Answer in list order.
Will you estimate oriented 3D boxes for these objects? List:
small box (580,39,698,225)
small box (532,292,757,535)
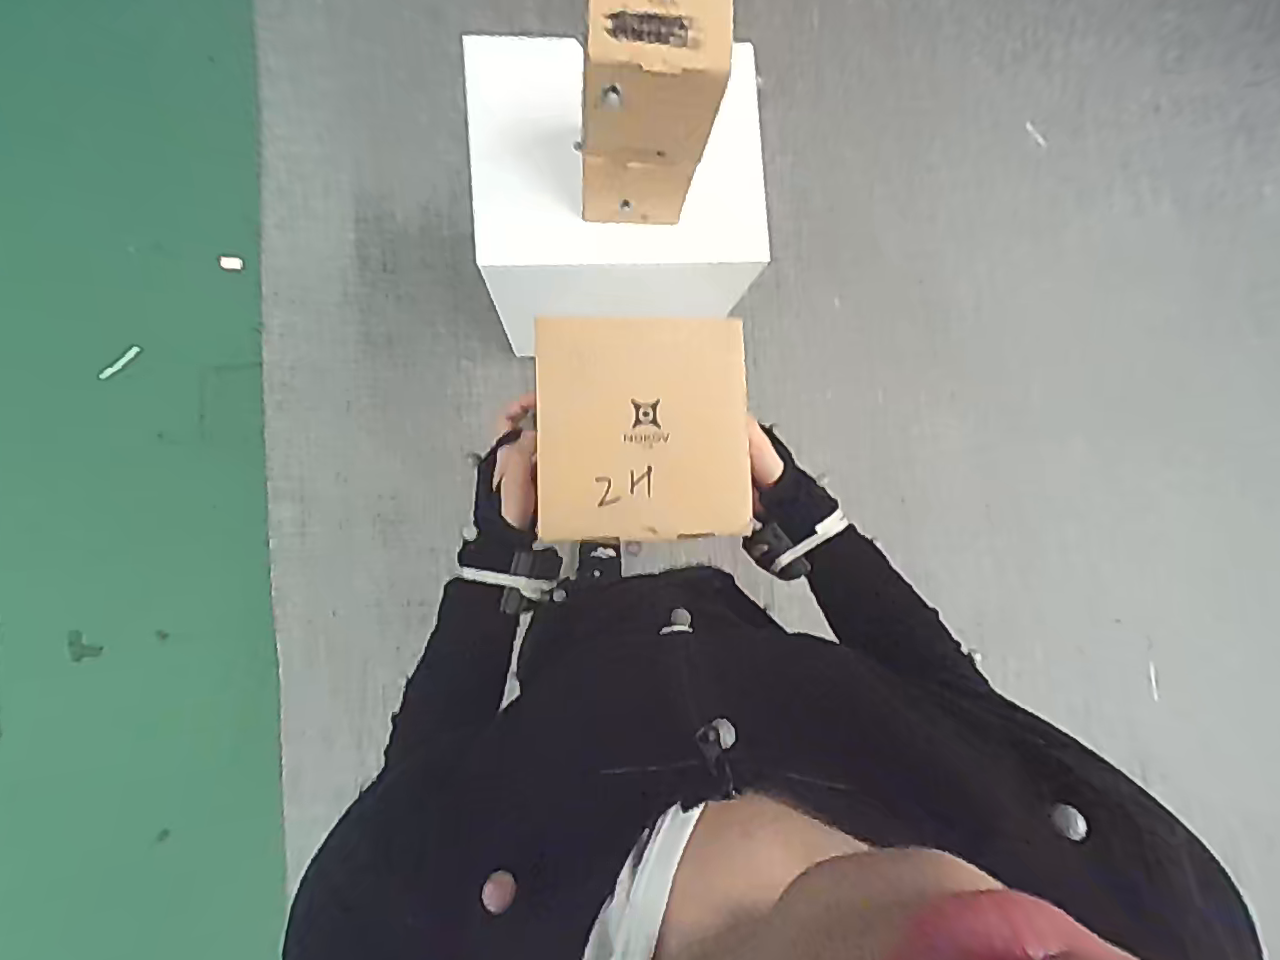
[{"bbox_3d":[-0.009,-0.527,0.840,0.168,0.176,0.179,-1,86,-6],"label":"small box"},{"bbox_3d":[-0.005,-0.042,0.475,0.168,0.176,0.179,0,83,-6],"label":"small box"}]
